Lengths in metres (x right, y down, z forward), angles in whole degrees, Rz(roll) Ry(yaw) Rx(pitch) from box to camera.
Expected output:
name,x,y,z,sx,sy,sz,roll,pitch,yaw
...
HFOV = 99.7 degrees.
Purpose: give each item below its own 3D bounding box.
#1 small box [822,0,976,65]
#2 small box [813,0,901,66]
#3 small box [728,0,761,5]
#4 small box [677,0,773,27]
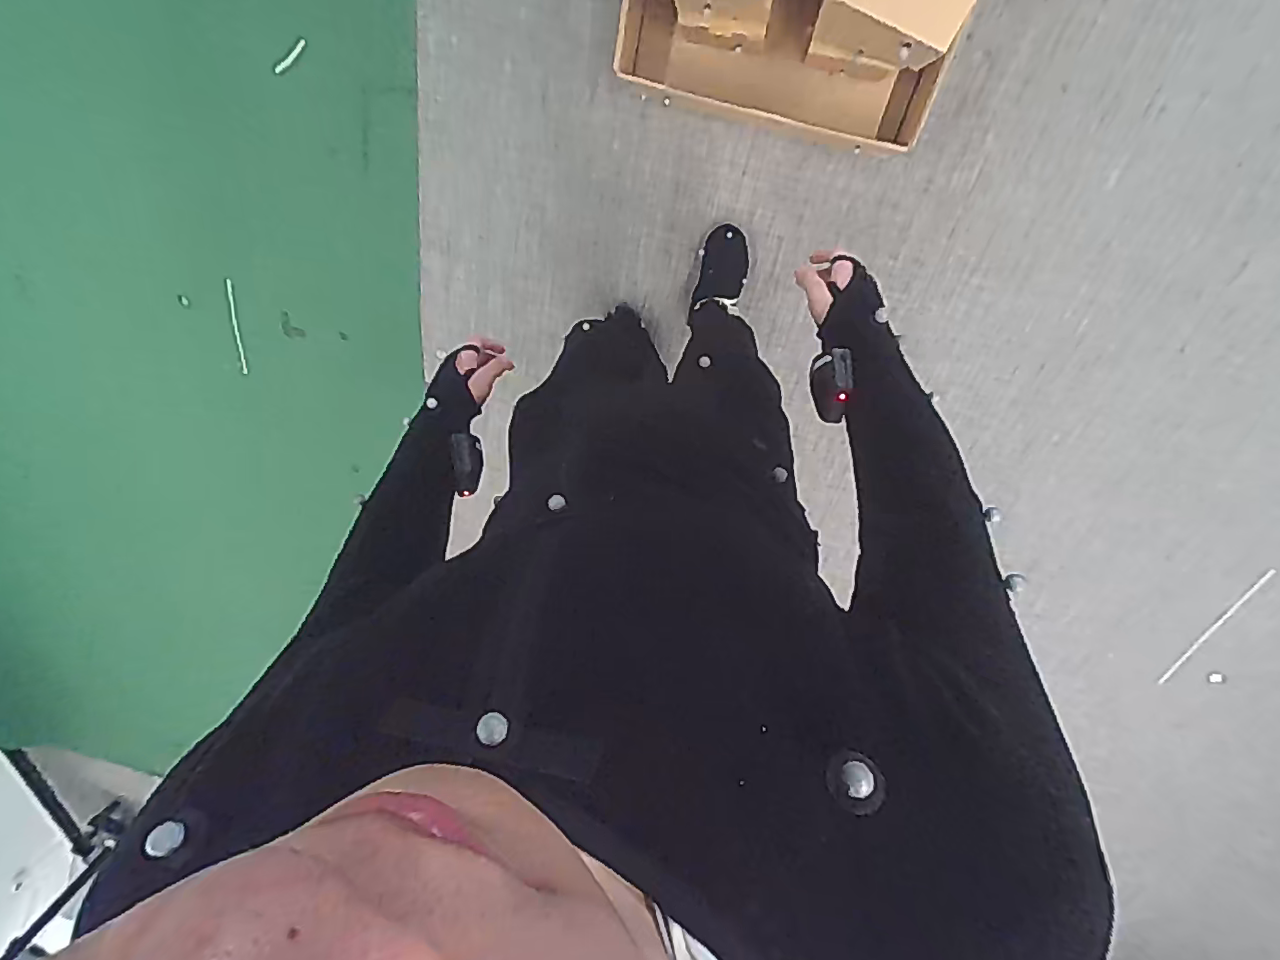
name,x,y,z,sx,sy,sz,roll,pitch,yaw
small box,0.368,-0.695,0.729,0.179,0.176,0.168,26,122,-2
small box,0.394,-0.790,0.864,0.179,0.176,0.168,19,122,3
small box,0.114,-0.789,0.739,0.179,0.176,0.168,14,121,1
small box,0.152,-0.871,0.877,0.168,0.176,0.179,13,121,3
